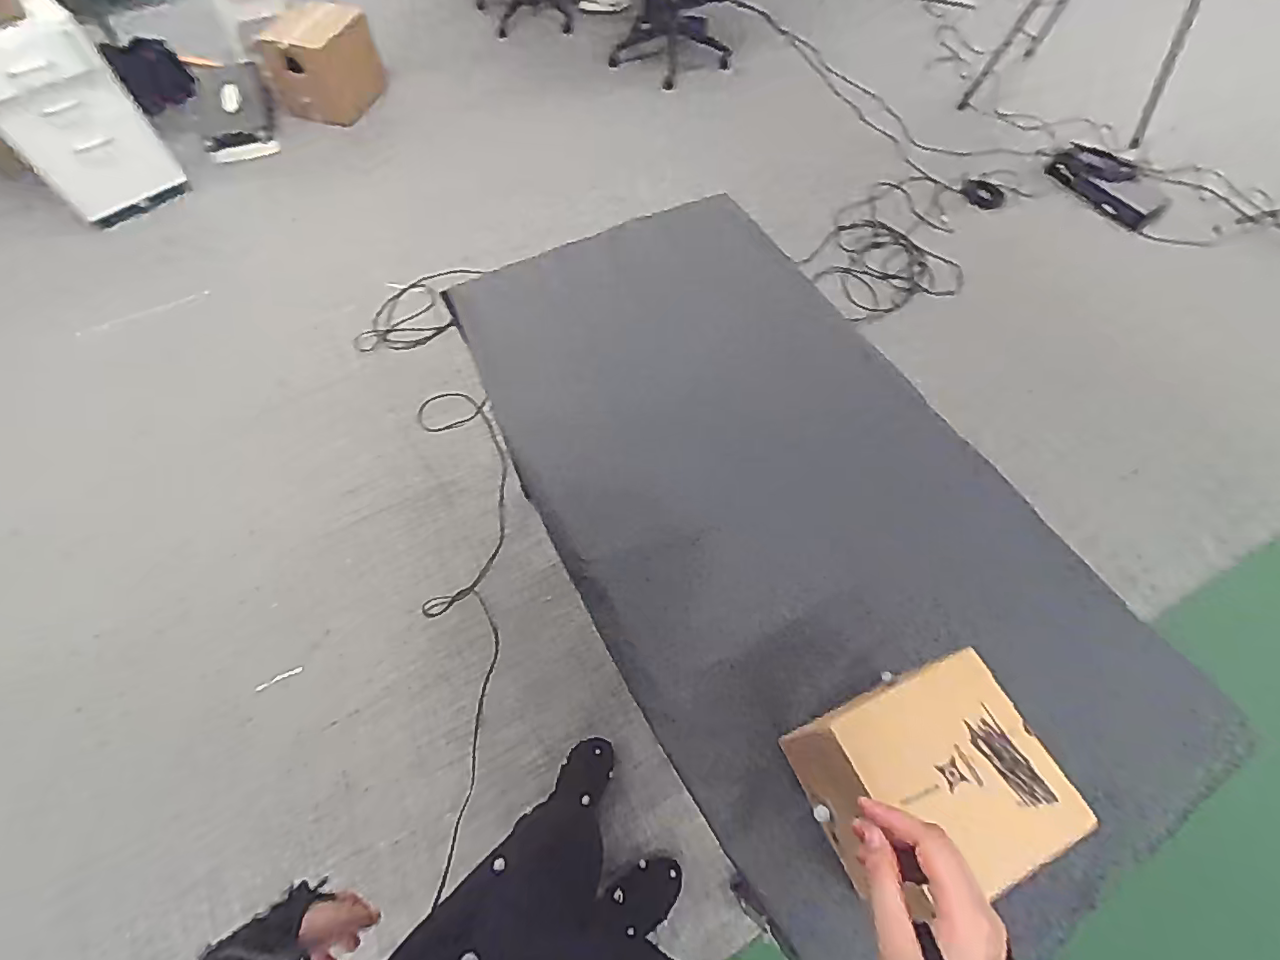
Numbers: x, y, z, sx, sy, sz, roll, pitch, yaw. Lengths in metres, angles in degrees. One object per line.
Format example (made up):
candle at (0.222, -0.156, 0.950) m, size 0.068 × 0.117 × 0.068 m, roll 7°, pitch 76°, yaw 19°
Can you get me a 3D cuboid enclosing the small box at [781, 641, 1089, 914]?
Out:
small box at (0.273, 0.288, 0.546) m, size 0.179 × 0.176 × 0.168 m, roll -20°, pitch 62°, yaw -14°
